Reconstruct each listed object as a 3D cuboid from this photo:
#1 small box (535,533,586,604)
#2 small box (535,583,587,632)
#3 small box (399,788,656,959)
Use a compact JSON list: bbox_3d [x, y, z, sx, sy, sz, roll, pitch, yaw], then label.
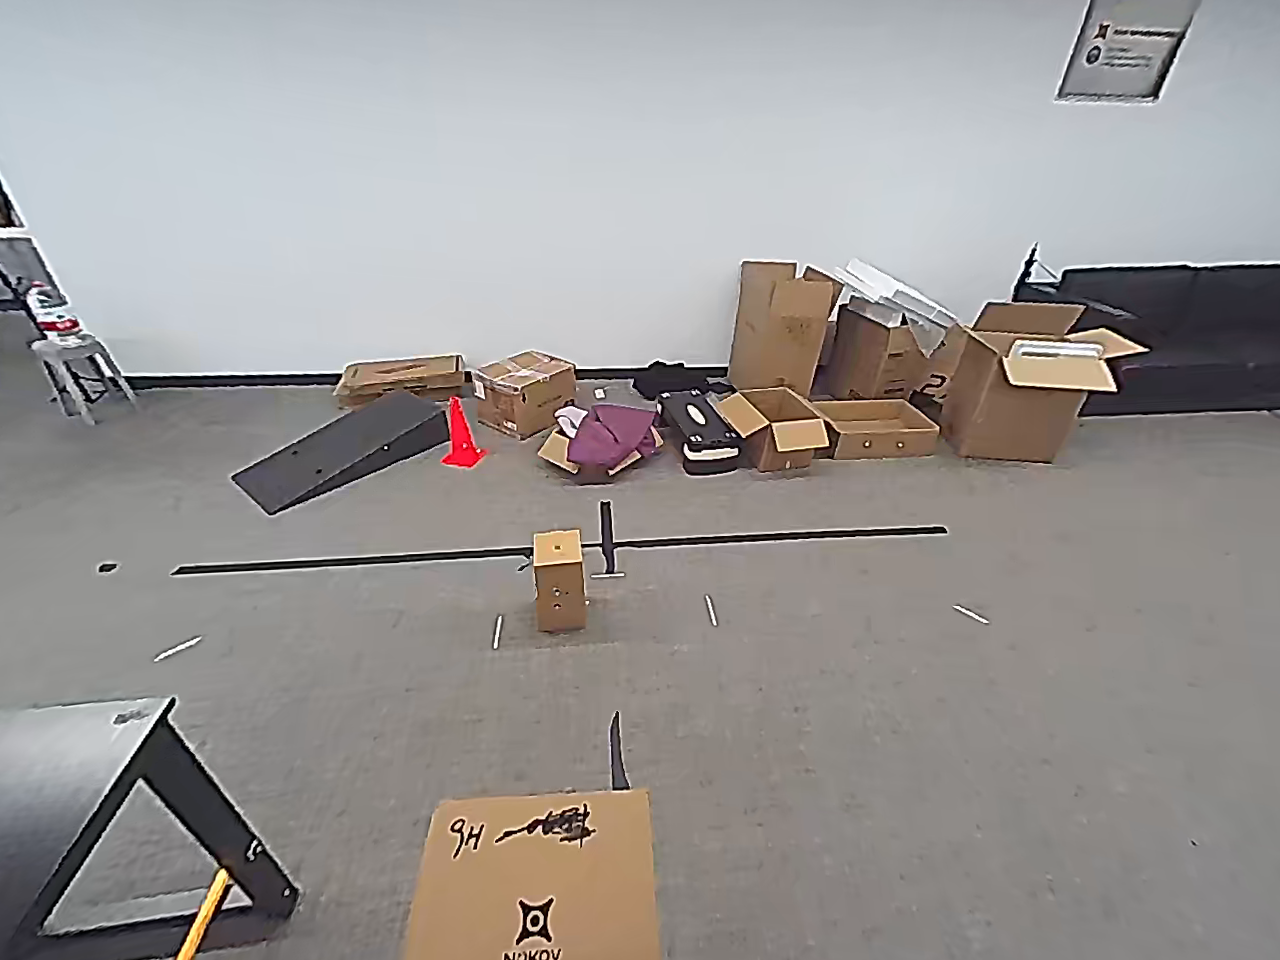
[{"bbox_3d":[-0.284,0.312,1.917,0.168,0.176,0.179,-6,35,-8],"label":"small box"},{"bbox_3d":[-0.291,0.447,2.006,0.179,0.176,0.168,-3,33,-7],"label":"small box"},{"bbox_3d":[-0.071,0.359,0.401,0.168,0.176,0.179,-2,37,-3],"label":"small box"}]
